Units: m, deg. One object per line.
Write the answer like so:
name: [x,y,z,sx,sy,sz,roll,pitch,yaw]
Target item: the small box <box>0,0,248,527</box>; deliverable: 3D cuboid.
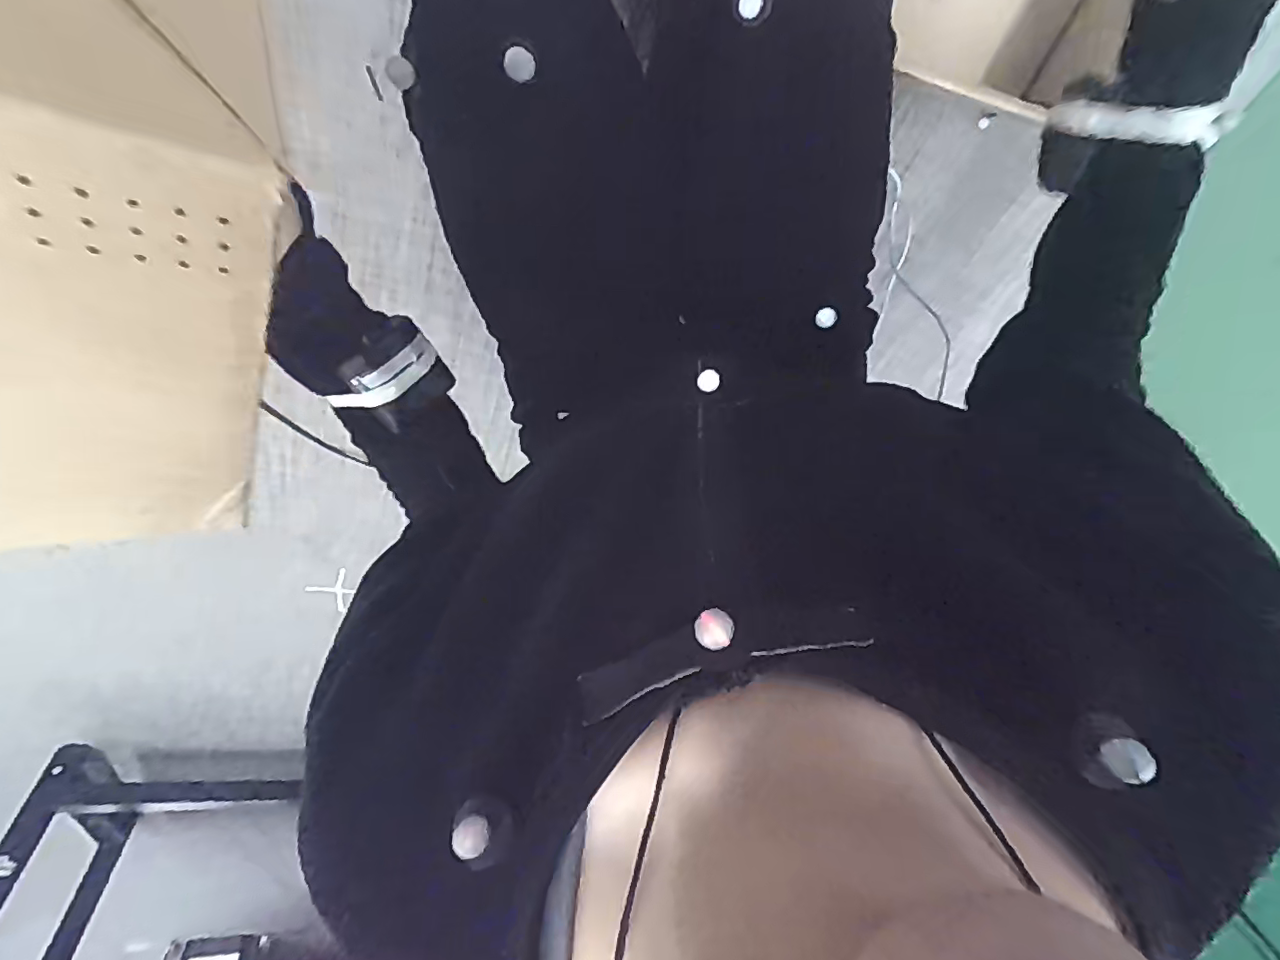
small box: [-0.197,-0.098,0.119,0.168,0.179,0.176,-3,153,-40]
